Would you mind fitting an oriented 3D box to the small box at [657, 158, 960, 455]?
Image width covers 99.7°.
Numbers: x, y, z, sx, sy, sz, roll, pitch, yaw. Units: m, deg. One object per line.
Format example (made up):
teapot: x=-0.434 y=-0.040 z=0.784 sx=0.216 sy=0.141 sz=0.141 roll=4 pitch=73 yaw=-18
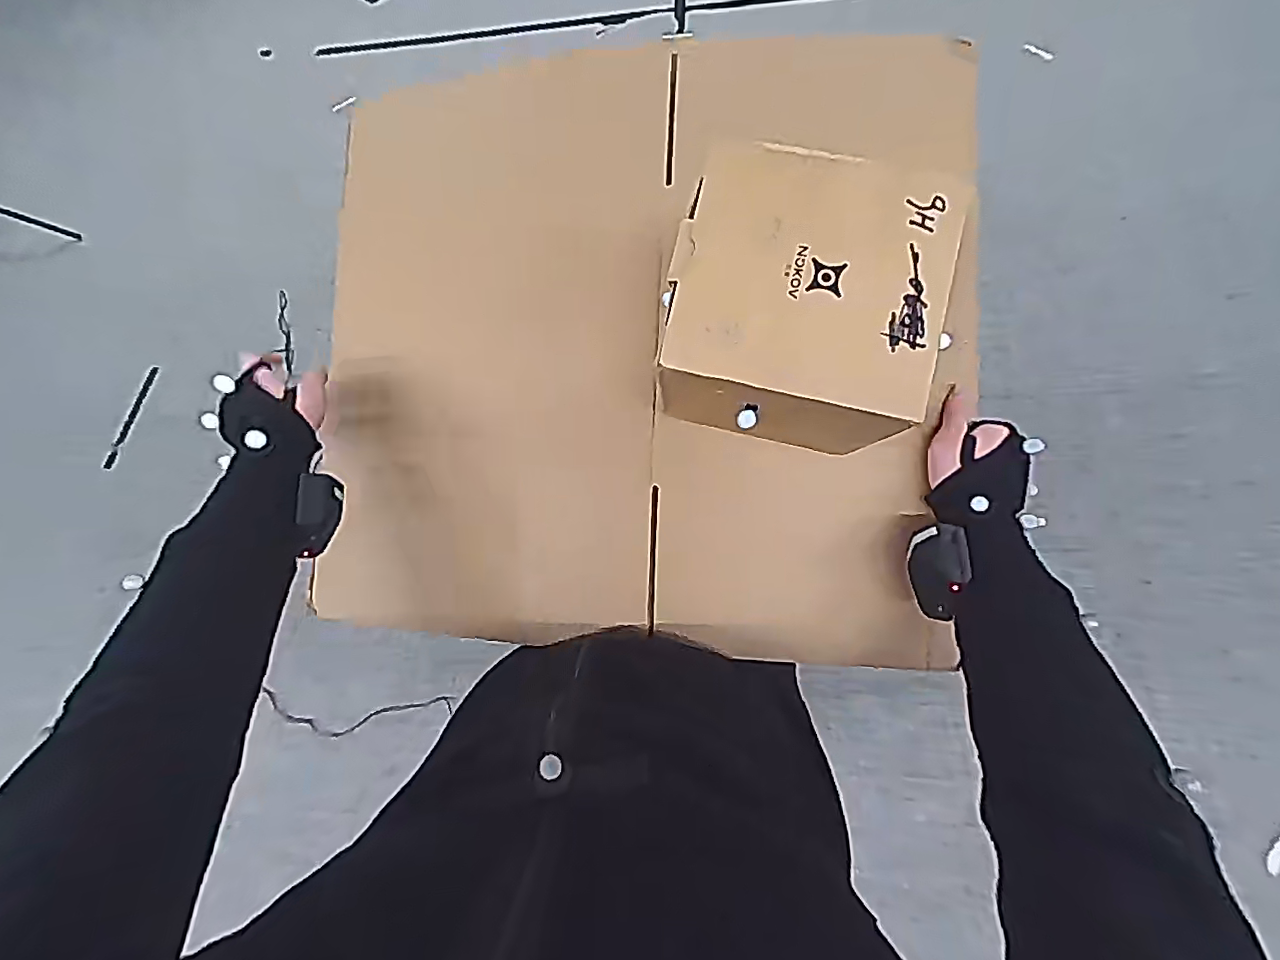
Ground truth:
small box: x=0.121 y=-0.123 z=0.446 sx=0.179 sy=0.176 sz=0.168 roll=13 pitch=87 yaw=6
